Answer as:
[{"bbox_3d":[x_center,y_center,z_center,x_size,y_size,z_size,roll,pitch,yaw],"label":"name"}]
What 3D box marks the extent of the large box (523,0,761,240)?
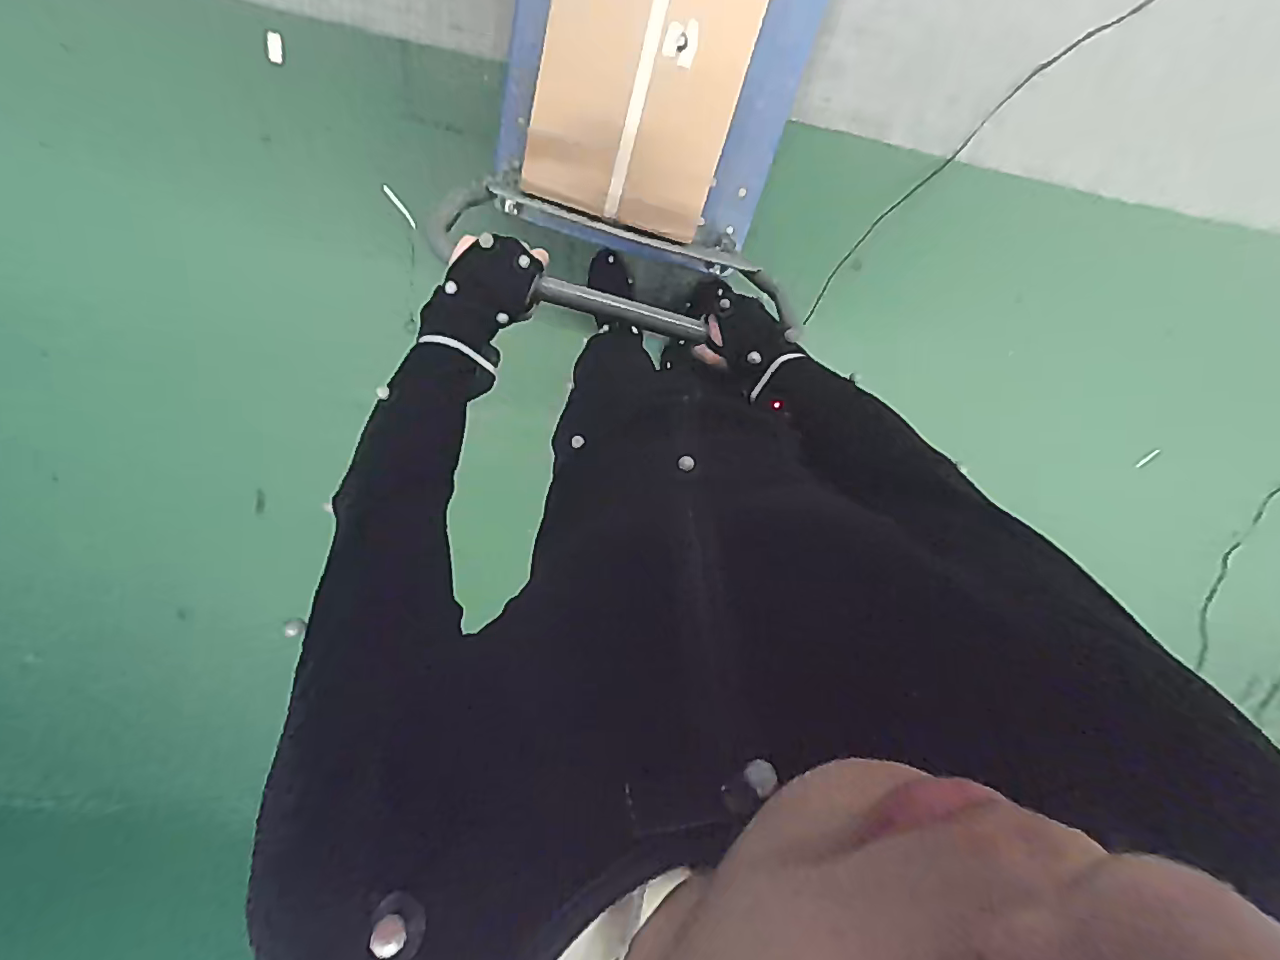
[{"bbox_3d":[-0.010,-0.698,0.993,0.320,0.320,0.408,13,116,-10],"label":"large box"}]
